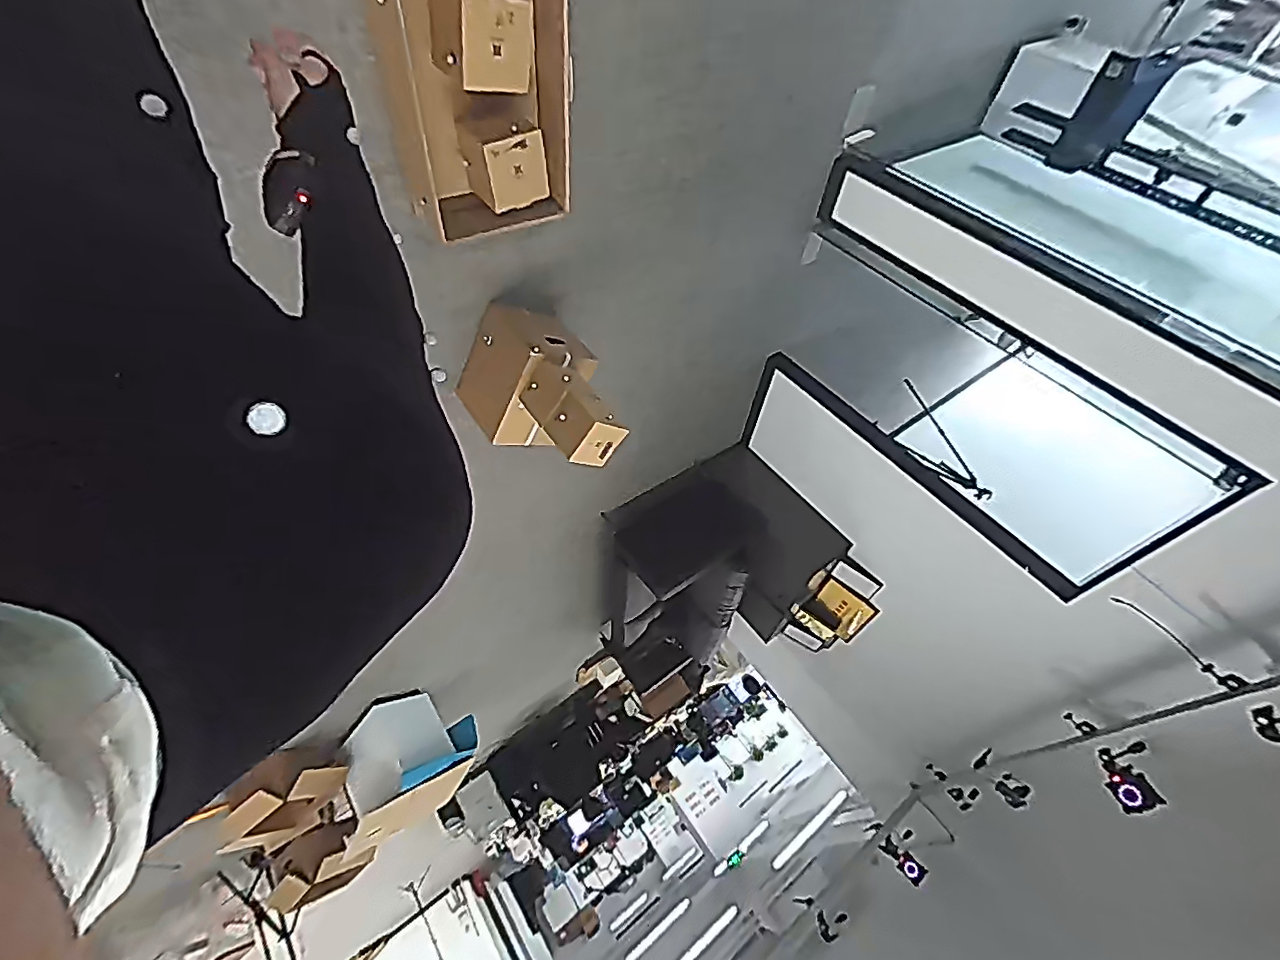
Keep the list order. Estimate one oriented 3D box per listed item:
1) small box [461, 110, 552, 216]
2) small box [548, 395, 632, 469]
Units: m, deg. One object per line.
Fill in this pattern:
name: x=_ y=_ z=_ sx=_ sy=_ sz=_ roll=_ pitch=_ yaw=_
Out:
small box: x=-0.355 y=-0.852 z=1.450 sx=0.168 sy=0.176 sz=0.179 roll=-30 pitch=151 yaw=-20
small box: x=-0.168 y=-0.159 z=1.788 sx=0.168 sy=0.176 sz=0.179 roll=-51 pitch=150 yaw=20
